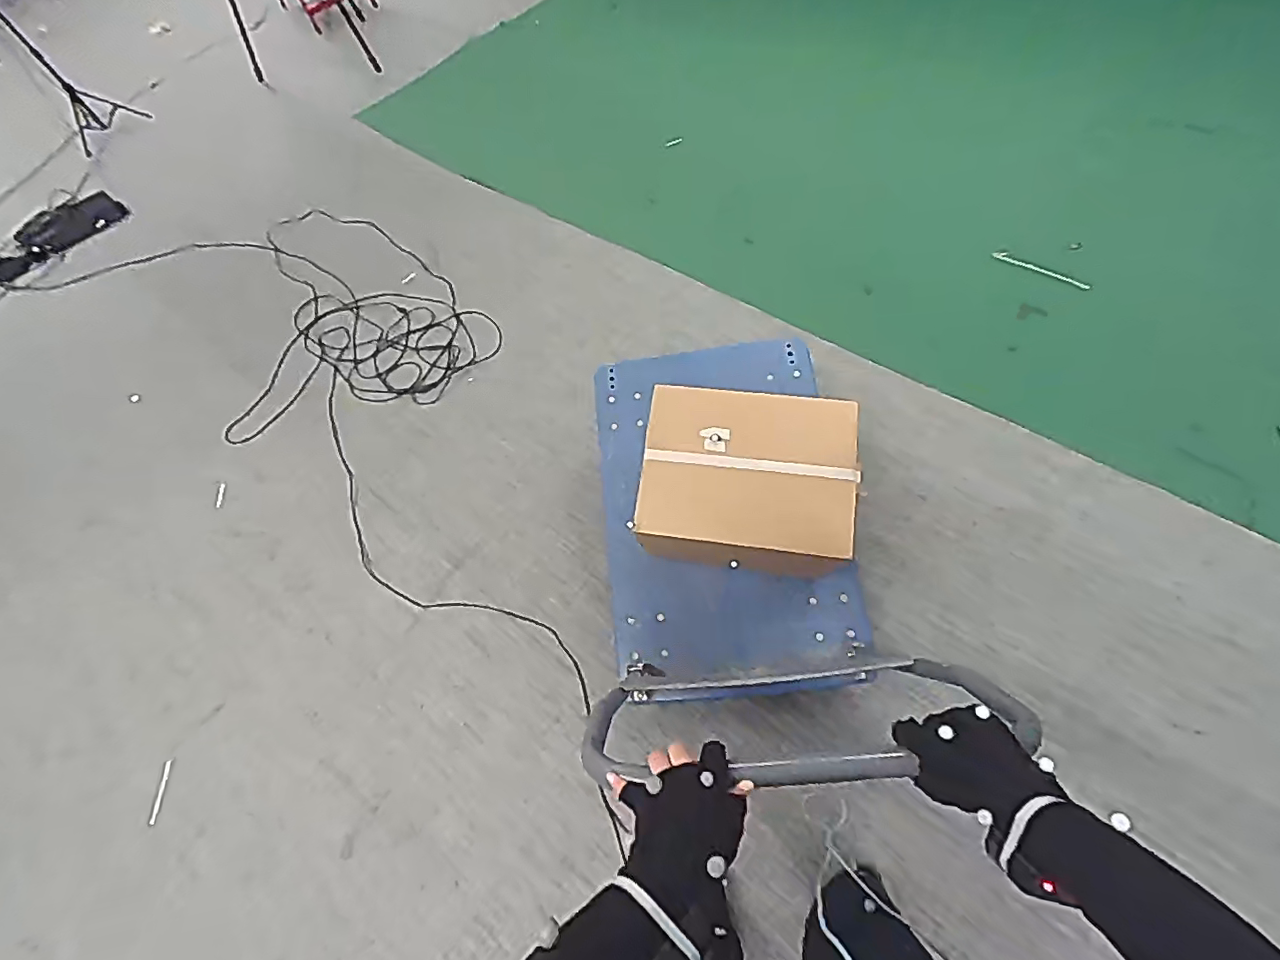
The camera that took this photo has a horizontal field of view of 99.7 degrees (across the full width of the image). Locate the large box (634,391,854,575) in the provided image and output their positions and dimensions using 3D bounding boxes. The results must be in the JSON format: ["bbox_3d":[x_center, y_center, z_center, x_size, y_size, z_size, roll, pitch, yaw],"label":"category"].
[{"bbox_3d":[0.223,0.021,1.182,0.408,0.320,0.320,6,74,9],"label":"large box"}]
